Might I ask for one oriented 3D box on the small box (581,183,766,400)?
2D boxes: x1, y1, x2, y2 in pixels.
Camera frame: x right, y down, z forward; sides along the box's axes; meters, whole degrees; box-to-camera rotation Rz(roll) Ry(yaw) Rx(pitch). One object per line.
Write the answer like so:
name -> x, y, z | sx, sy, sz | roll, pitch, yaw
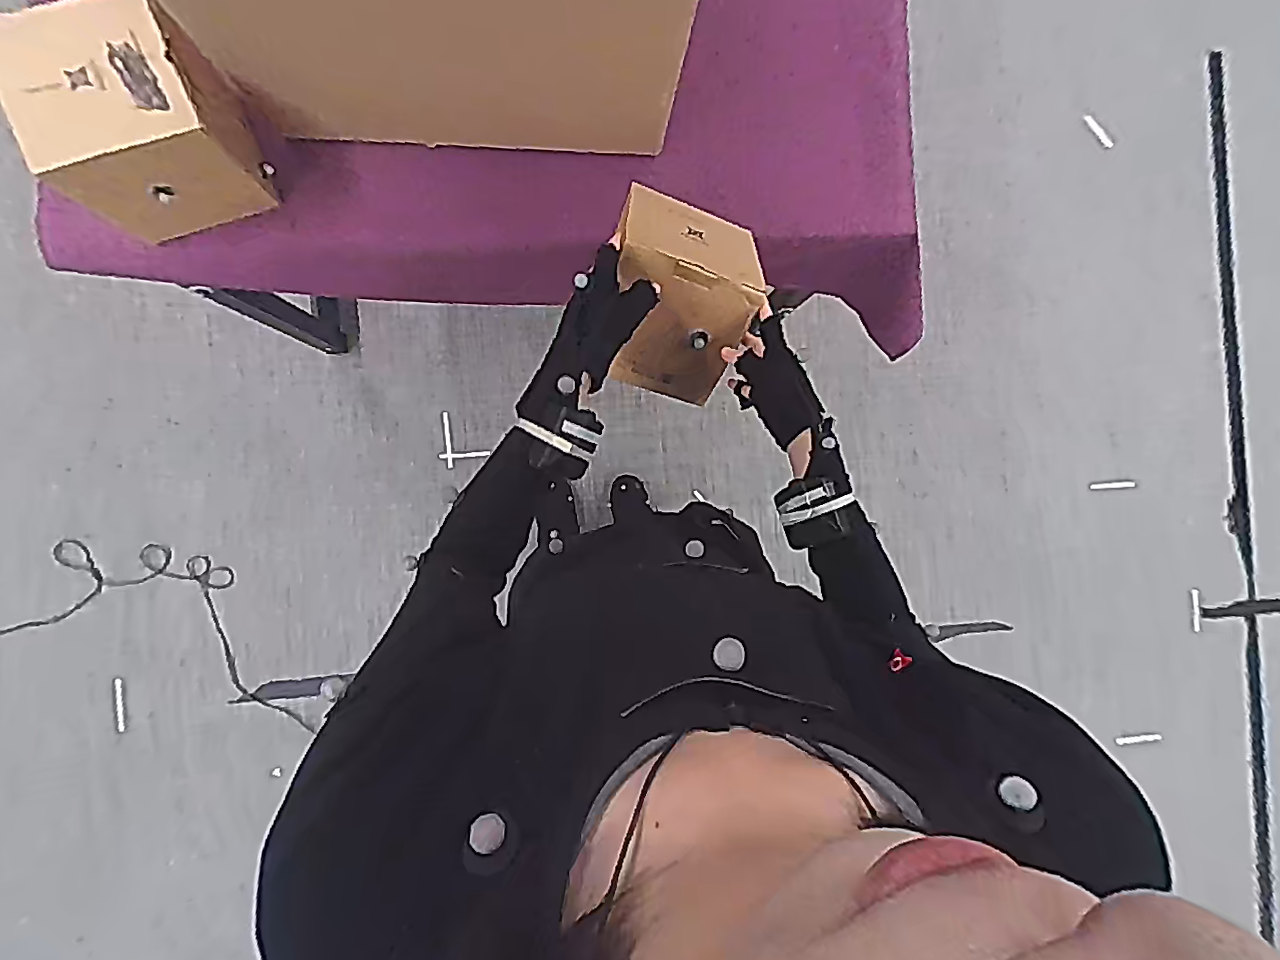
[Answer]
small box -> 0.032, -0.225, 0.665 | 0.168, 0.179, 0.176 | 16, 132, -14
